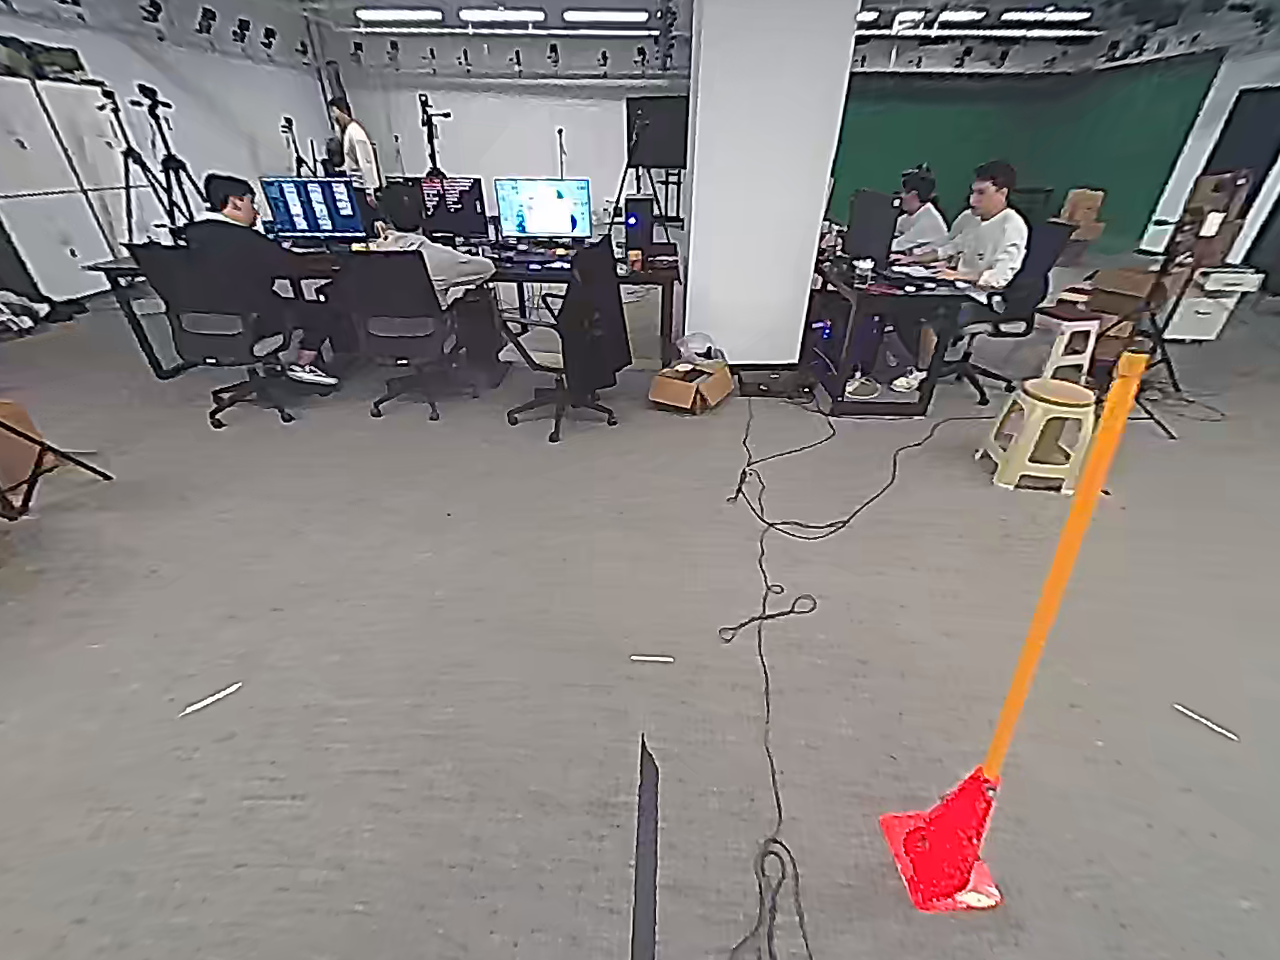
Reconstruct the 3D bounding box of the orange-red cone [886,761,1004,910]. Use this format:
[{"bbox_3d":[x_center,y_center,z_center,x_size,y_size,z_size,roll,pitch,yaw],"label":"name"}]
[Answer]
[{"bbox_3d":[0.691,0.721,1.154,0.199,0.360,0.198,-3,31,-2],"label":"orange-red cone"}]
